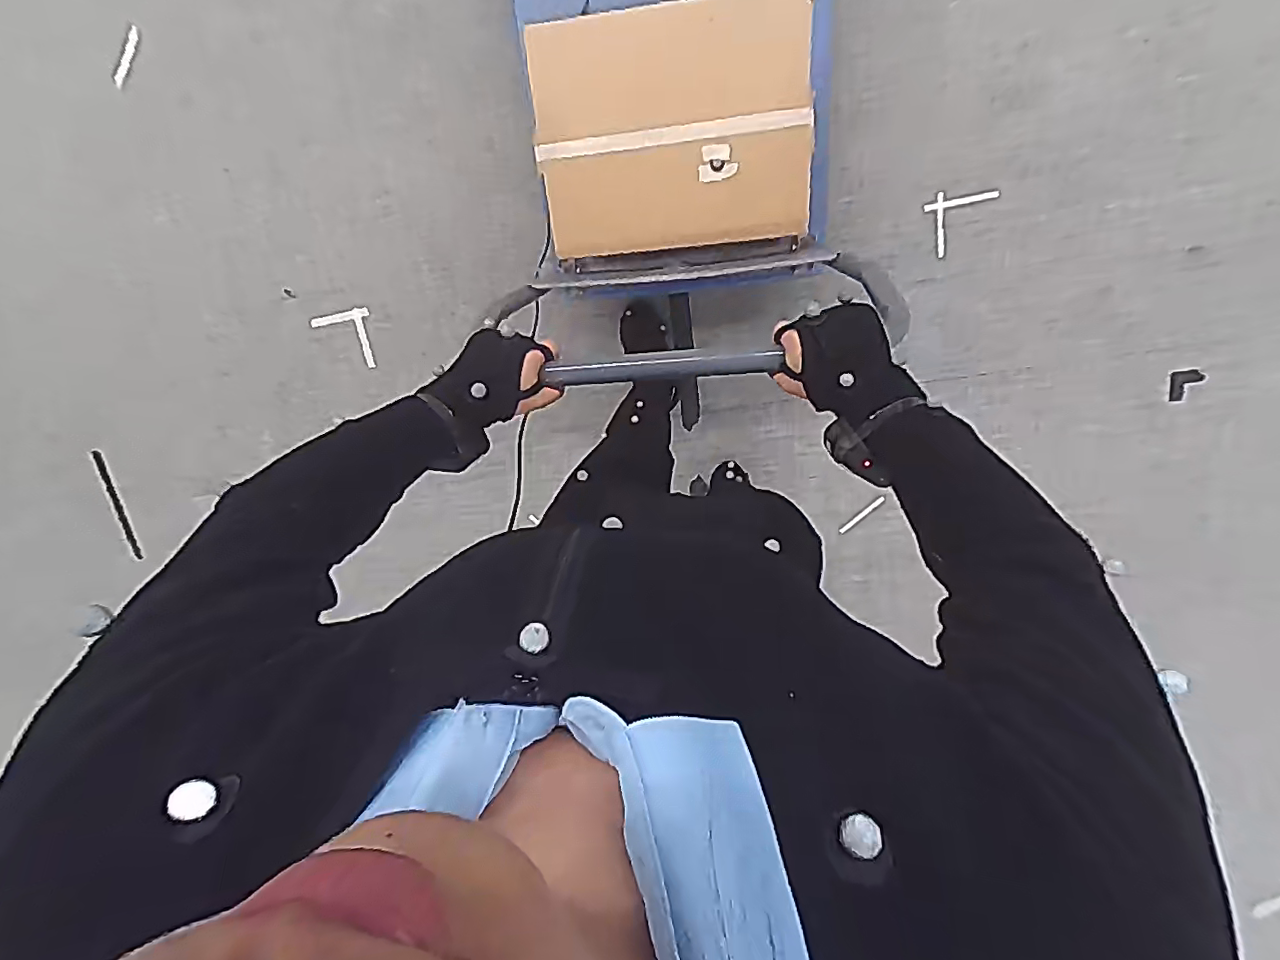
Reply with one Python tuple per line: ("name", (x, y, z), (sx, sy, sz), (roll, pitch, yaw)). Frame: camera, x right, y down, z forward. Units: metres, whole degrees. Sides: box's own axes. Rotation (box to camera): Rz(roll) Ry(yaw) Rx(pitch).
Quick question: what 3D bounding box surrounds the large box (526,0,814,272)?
("large box", (0.061, -0.550, 0.931), (0.408, 0.320, 0.320), (-3, 114, 7))
